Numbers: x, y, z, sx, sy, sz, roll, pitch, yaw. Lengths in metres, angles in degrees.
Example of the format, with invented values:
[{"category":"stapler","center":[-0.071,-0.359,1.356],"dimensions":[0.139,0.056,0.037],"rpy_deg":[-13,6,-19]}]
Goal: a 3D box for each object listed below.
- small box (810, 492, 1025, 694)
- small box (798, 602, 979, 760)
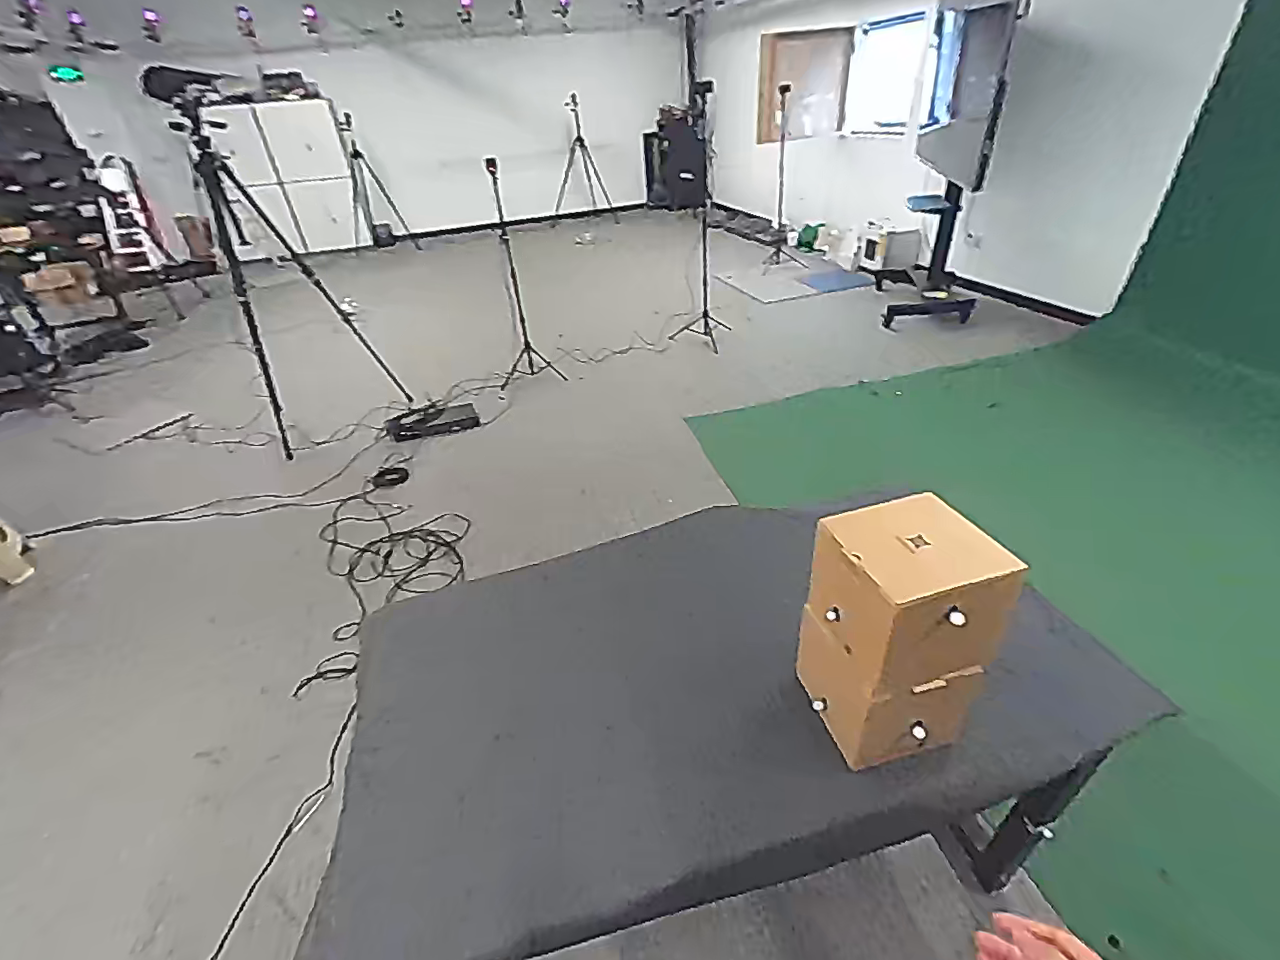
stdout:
[{"category":"small box","center":[0.341,0.144,0.706],"dimensions":[0.179,0.176,0.168],"rpy_deg":[-14,34,-9]},{"category":"small box","center":[0.348,0.281,0.794],"dimensions":[0.168,0.176,0.179],"rpy_deg":[-12,34,-8]}]
